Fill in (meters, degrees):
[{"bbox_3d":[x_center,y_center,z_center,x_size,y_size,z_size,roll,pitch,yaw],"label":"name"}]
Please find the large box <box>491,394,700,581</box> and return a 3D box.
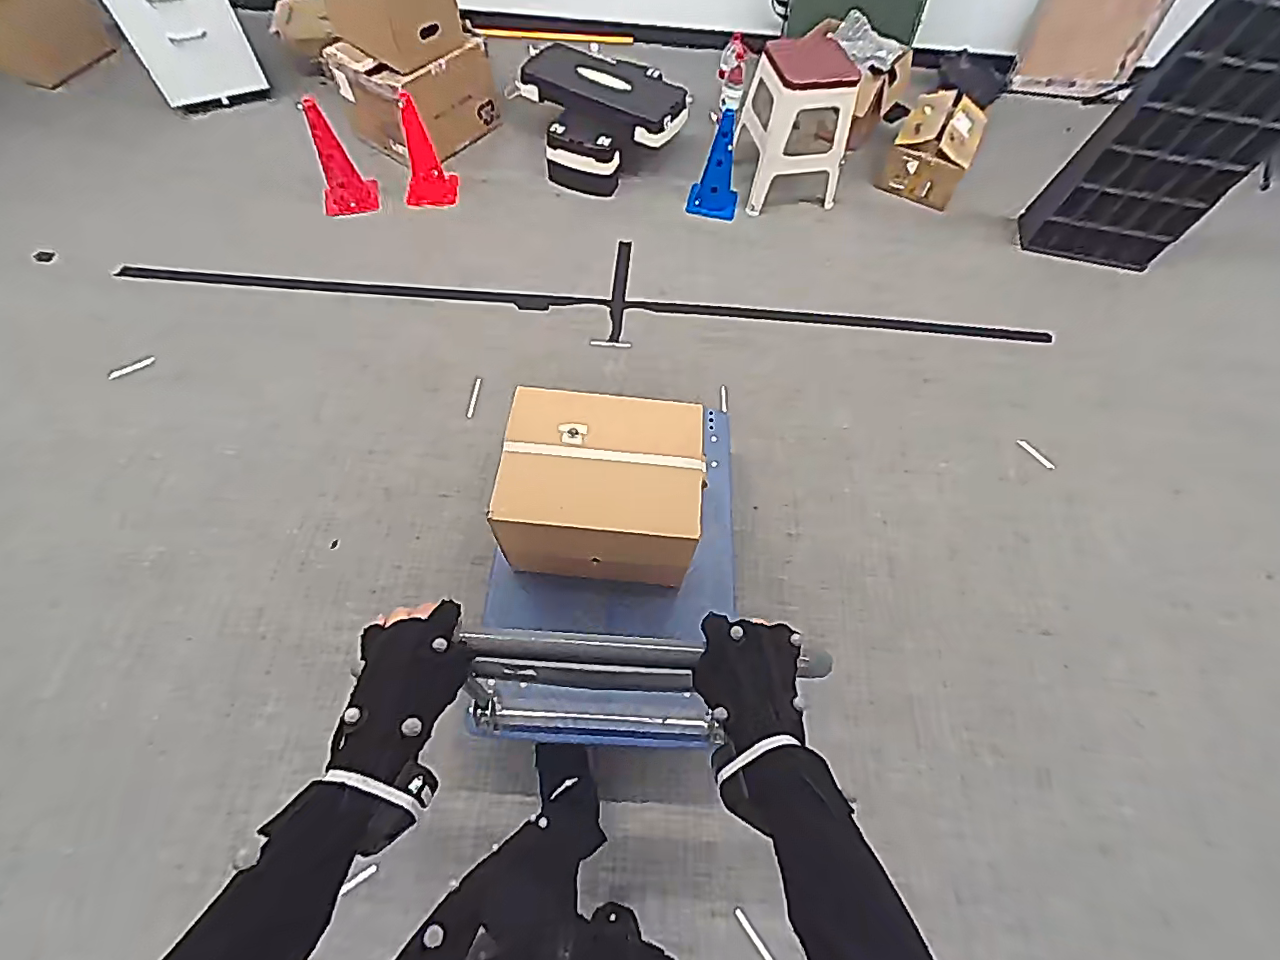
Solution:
[{"bbox_3d":[-0.082,0.031,1.235,0.408,0.320,0.320,6,62,0],"label":"large box"}]
